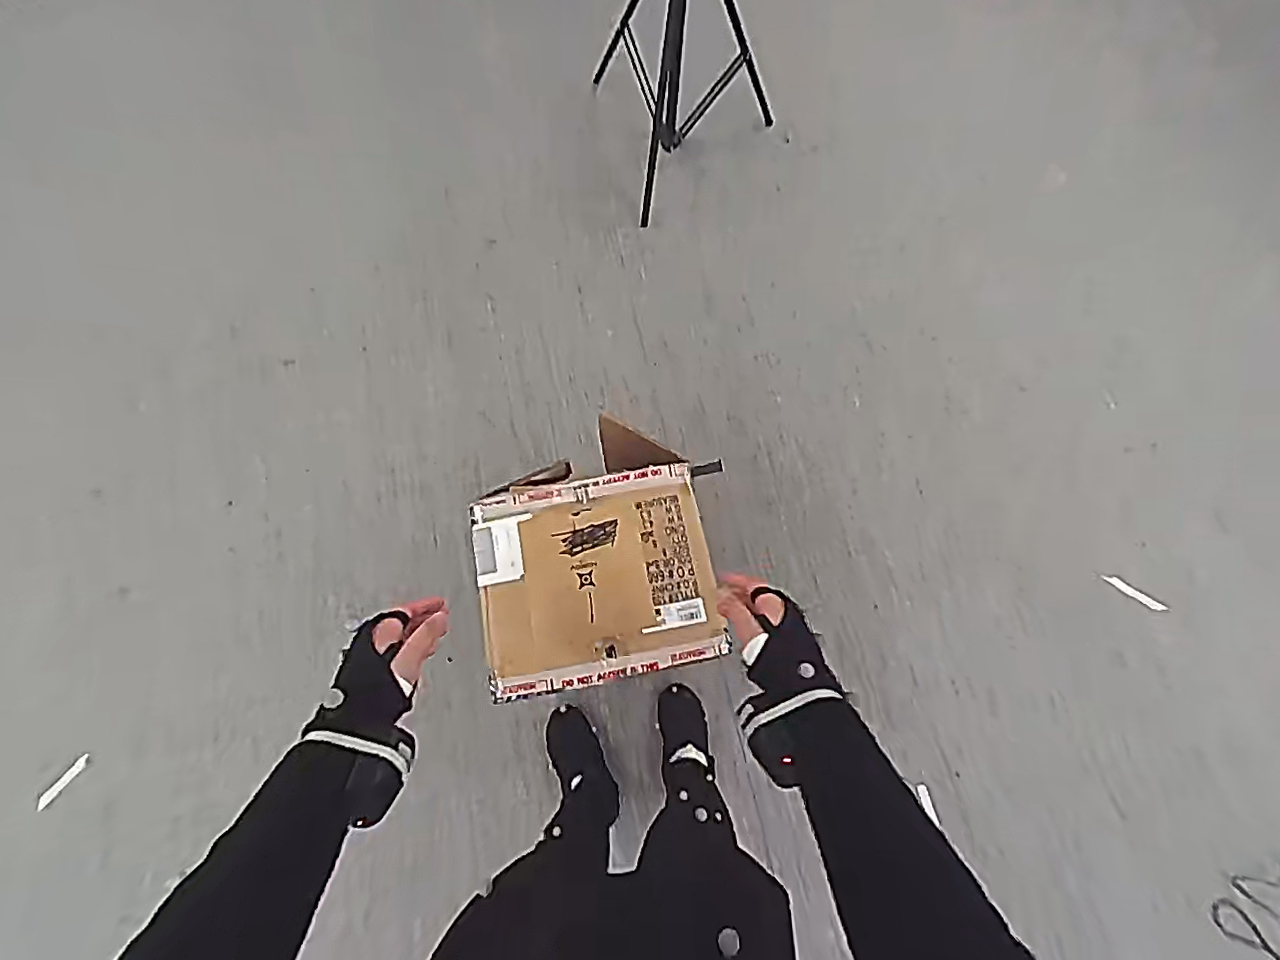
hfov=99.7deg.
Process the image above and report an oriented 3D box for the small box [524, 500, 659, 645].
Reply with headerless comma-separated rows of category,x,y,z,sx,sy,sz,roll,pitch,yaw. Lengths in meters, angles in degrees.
small box,-0.070,0.142,0.811,0.168,0.176,0.179,-10,78,-3
